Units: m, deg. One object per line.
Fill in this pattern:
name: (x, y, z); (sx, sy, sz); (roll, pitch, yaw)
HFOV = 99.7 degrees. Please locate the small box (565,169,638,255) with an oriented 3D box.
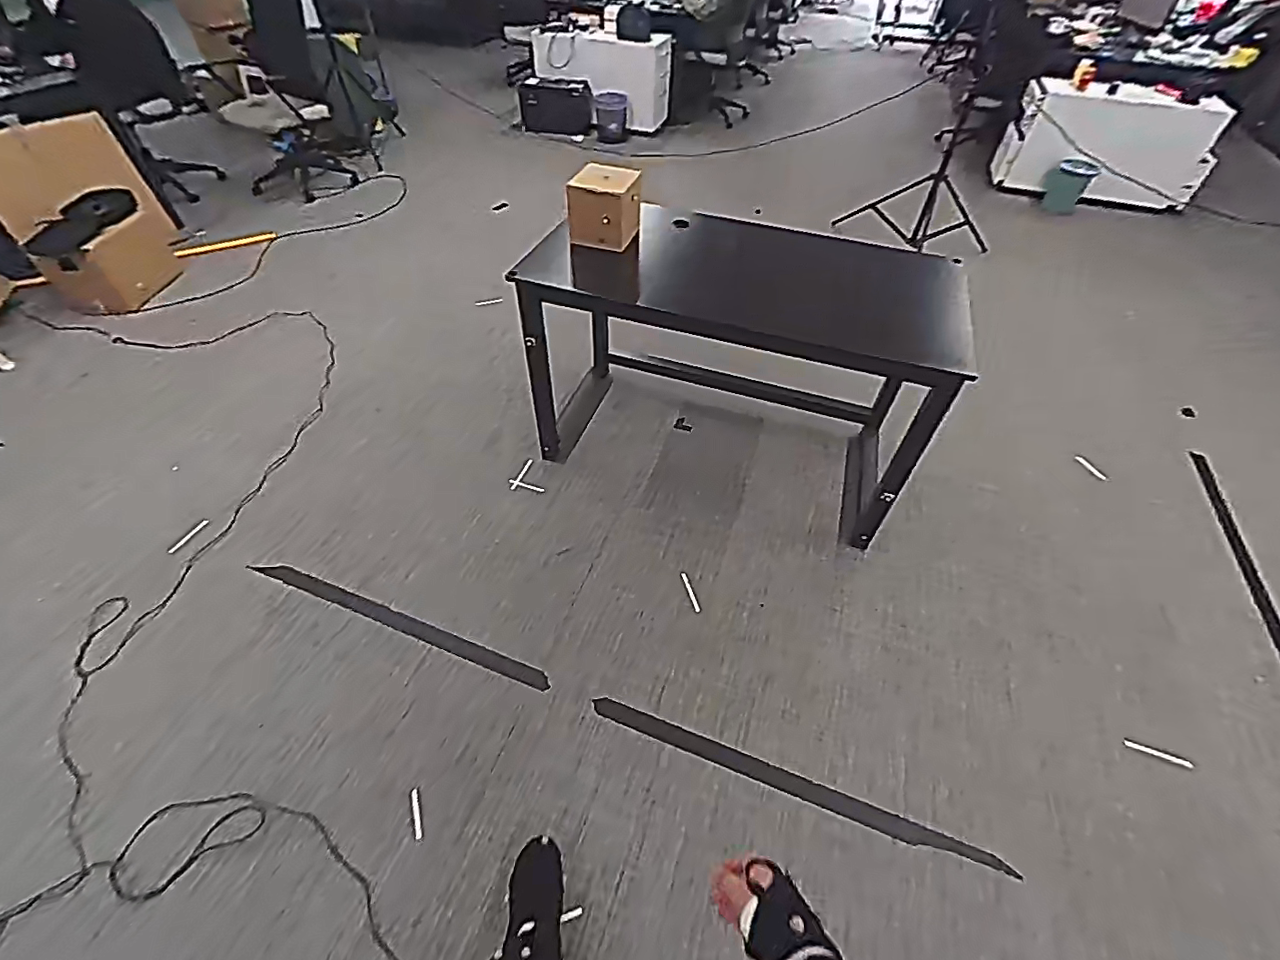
small box: (-0.108, -0.786, 1.594); (0.168, 0.176, 0.179); (15, 49, 9)
